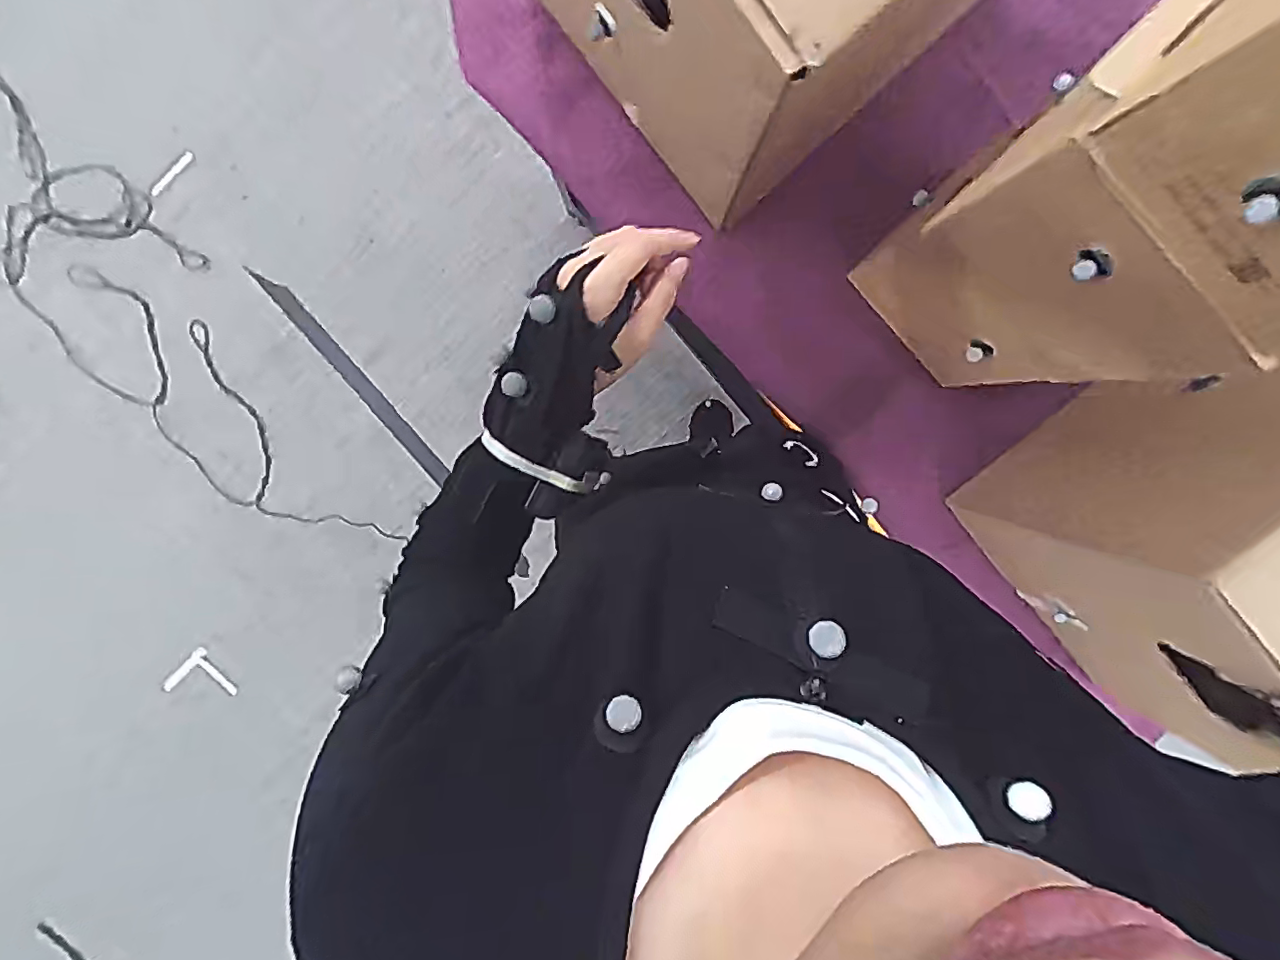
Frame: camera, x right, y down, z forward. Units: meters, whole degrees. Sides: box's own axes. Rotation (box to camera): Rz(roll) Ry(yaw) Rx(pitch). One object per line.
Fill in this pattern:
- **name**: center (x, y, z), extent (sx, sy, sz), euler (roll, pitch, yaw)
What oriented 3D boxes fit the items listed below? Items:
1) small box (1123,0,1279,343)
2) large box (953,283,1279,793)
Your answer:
- **small box**: center (0.355, -0.171, 0.199), extent (0.168, 0.176, 0.179), euler (44, 97, -5)
- **large box**: center (0.604, 0.030, 0.484), extent (0.408, 0.320, 0.320), euler (-41, 96, 5)
